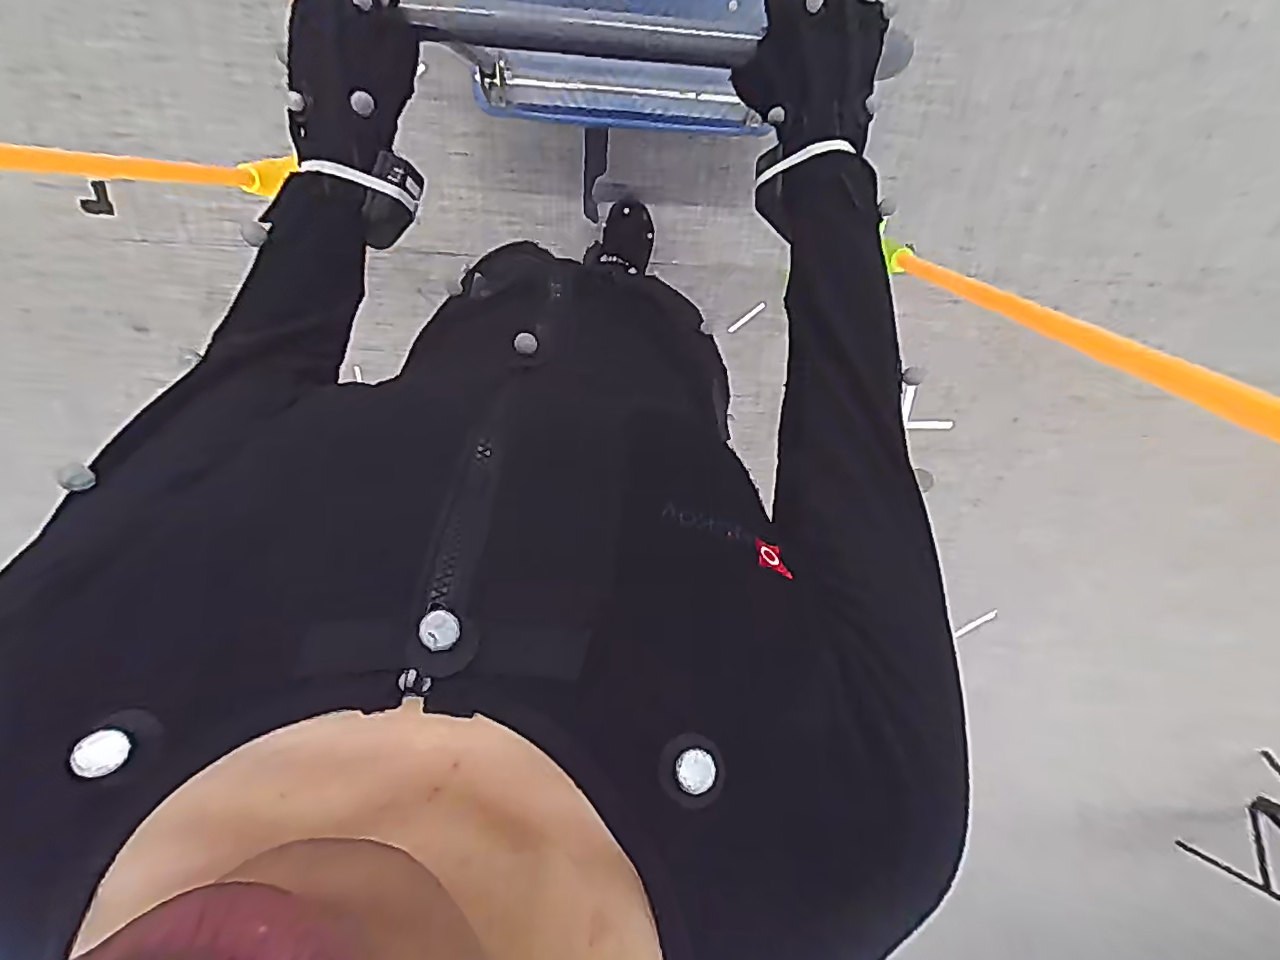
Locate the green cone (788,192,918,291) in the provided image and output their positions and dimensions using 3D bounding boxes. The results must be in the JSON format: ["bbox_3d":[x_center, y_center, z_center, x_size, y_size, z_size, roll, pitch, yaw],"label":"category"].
[{"bbox_3d":[0.470,-0.484,1.131,0.202,0.368,0.200,5,117,-5],"label":"green cone"}]
